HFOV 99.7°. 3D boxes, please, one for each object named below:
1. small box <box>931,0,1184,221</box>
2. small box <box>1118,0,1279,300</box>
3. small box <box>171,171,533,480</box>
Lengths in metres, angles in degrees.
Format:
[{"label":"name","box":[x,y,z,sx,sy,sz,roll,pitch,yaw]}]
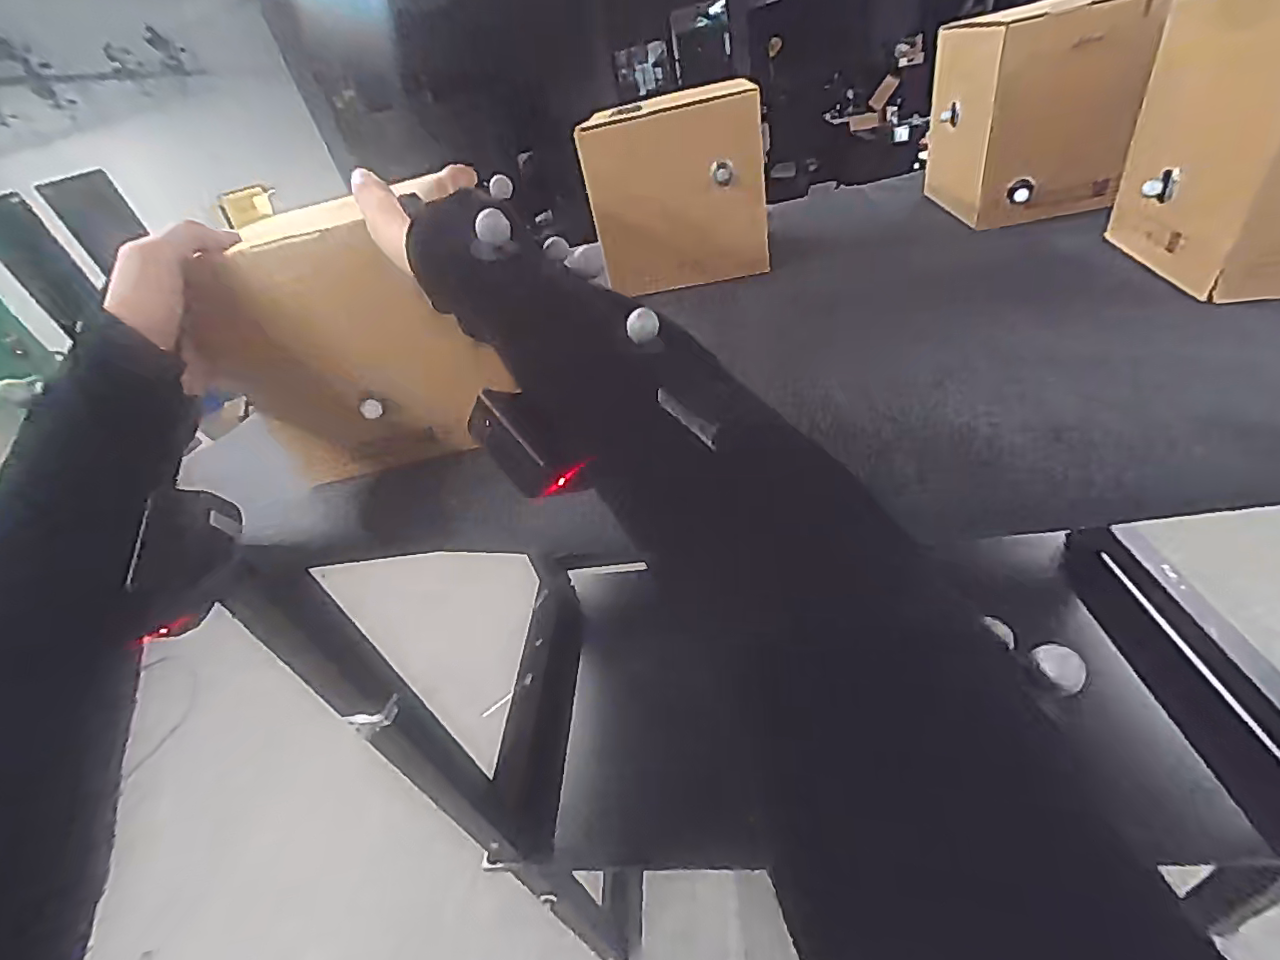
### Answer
[{"label":"small box","box":[0.409,-0.374,0.541,0.168,0.176,0.179,-6,36,13]},{"label":"small box","box":[0.452,-0.228,0.332,0.179,0.176,0.168,-2,37,19]},{"label":"small box","box":[-0.194,-0.126,0.434,0.168,0.176,0.179,-14,36,5]}]
